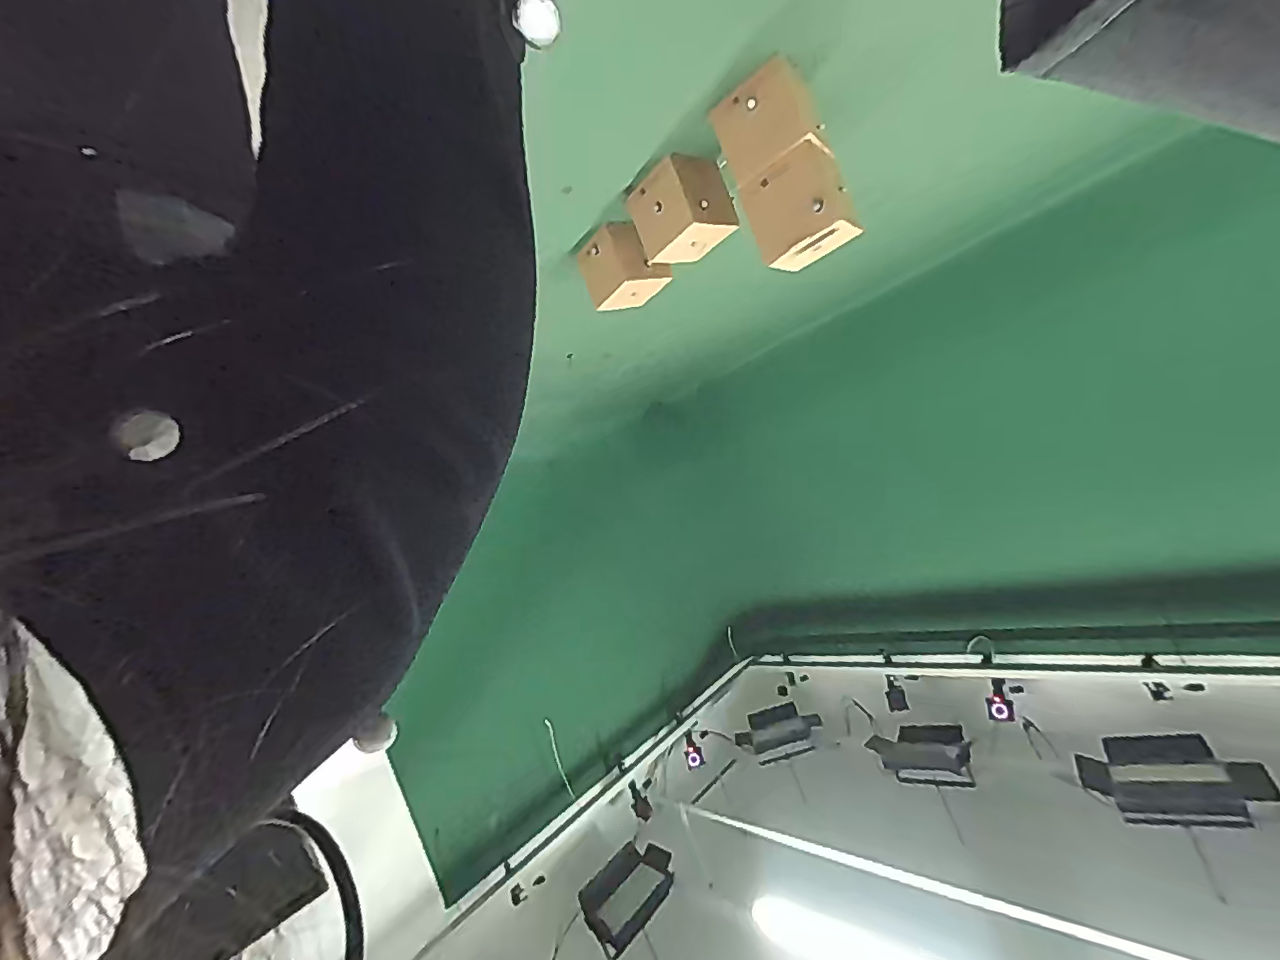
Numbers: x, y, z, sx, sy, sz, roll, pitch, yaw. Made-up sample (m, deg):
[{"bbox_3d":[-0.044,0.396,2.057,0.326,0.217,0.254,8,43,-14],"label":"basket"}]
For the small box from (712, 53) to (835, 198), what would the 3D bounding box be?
[{"bbox_3d":[0.276,-0.726,1.120,0.168,0.176,0.179,-22,178,37],"label":"small box"}]

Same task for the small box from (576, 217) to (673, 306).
[{"bbox_3d":[-0.045,-0.602,1.490,0.179,0.176,0.168,-21,180,-37],"label":"small box"}]

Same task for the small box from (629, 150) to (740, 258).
[{"bbox_3d":[0.102,-0.658,1.298,0.179,0.176,0.168,-22,-179,-41],"label":"small box"}]
